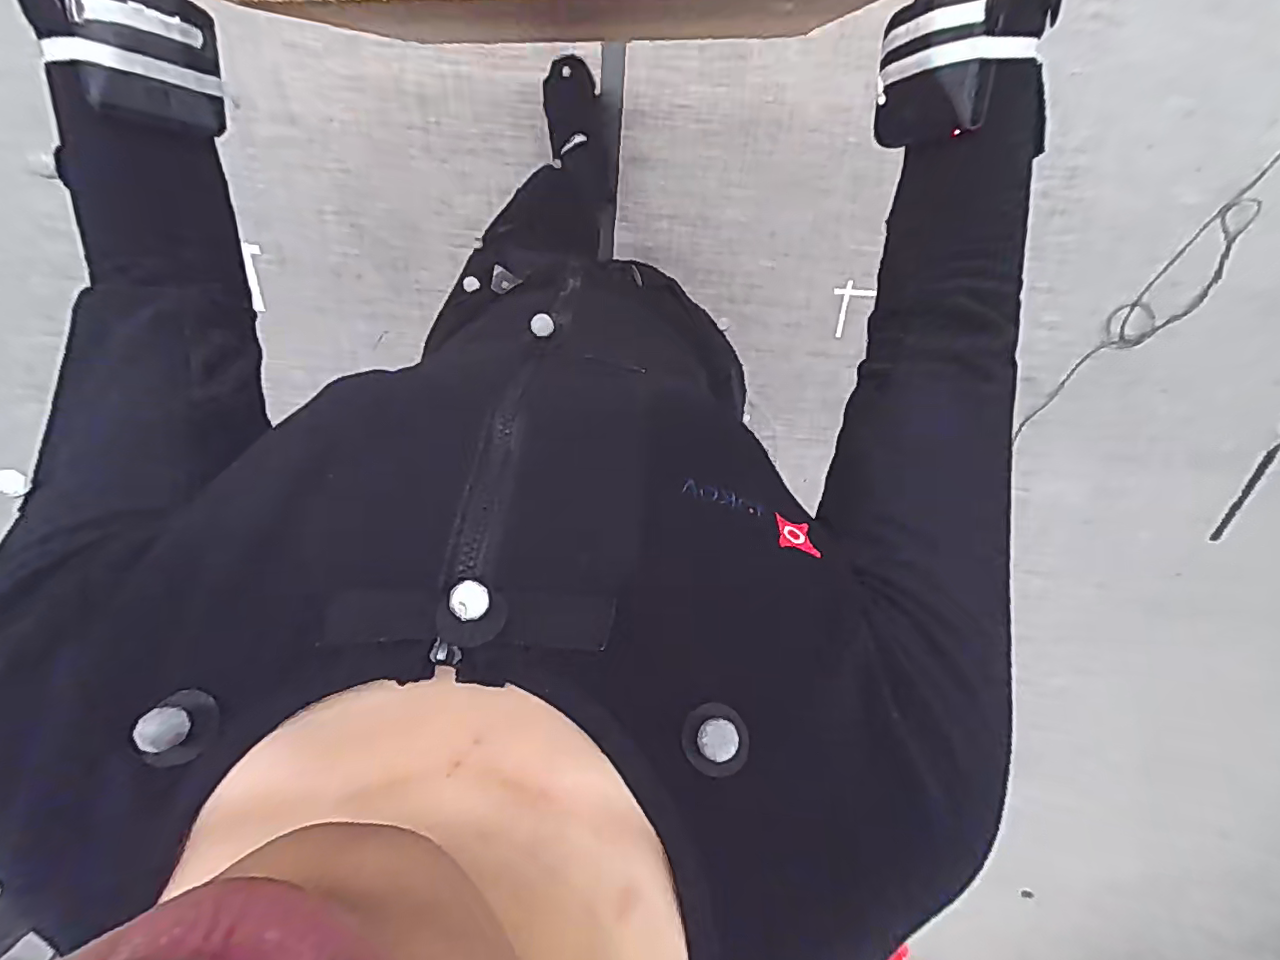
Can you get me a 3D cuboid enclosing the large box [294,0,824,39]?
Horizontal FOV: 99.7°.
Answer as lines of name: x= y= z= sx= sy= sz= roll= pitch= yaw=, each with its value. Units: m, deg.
large box: x=-0.039 y=-0.502 z=0.344 sx=0.408 sy=0.320 sz=0.320 roll=-1 pitch=126 yaw=2
